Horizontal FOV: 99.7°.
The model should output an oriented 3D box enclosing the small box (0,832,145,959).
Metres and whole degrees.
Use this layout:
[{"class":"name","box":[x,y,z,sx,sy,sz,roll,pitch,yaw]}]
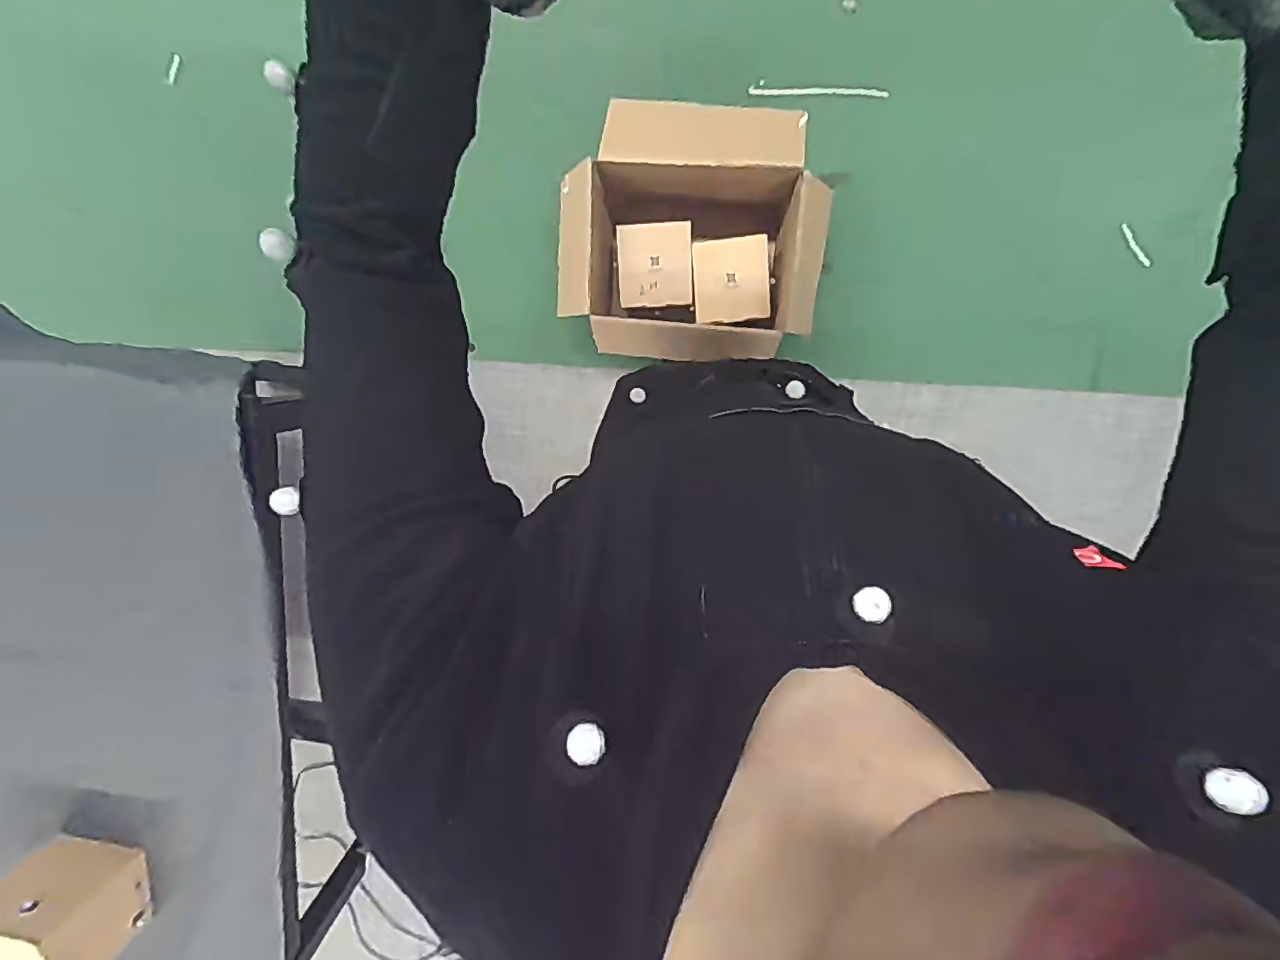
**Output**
[{"class":"small box","box":[-1.008,0.750,0.934,0.179,0.176,0.168,8,103,5]}]
